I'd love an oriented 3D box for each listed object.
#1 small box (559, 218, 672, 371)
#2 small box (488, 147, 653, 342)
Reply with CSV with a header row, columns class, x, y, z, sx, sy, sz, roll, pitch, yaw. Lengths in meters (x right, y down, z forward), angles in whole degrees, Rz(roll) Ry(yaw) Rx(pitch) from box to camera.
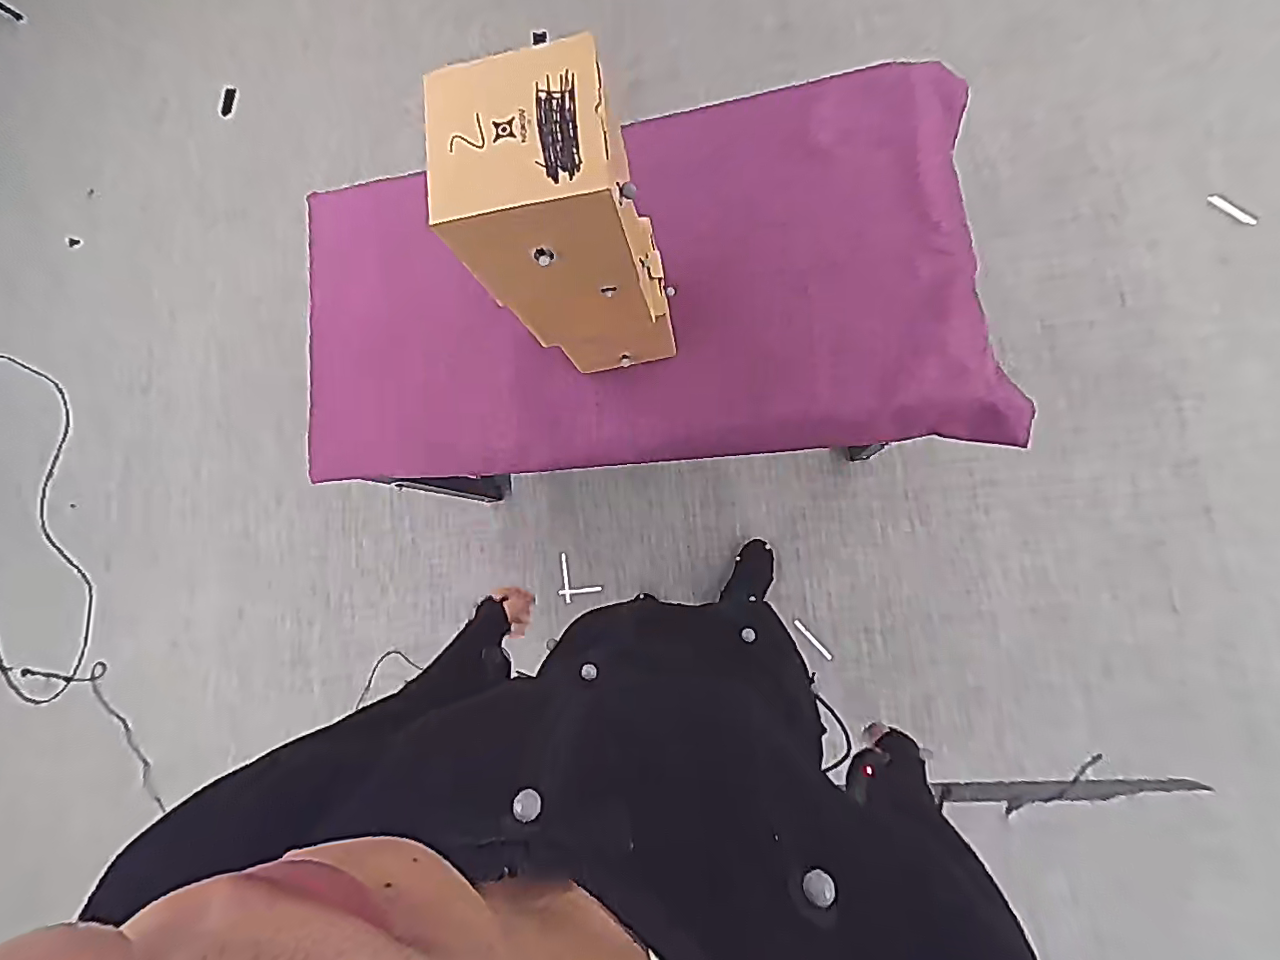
class,x,y,z,sx,sy,sz,roll,pitch,yaw
small box,-0.044,-0.297,0.899,0.179,0.176,0.168,-9,80,7
small box,-0.087,-0.306,0.740,0.179,0.176,0.168,-9,81,8
